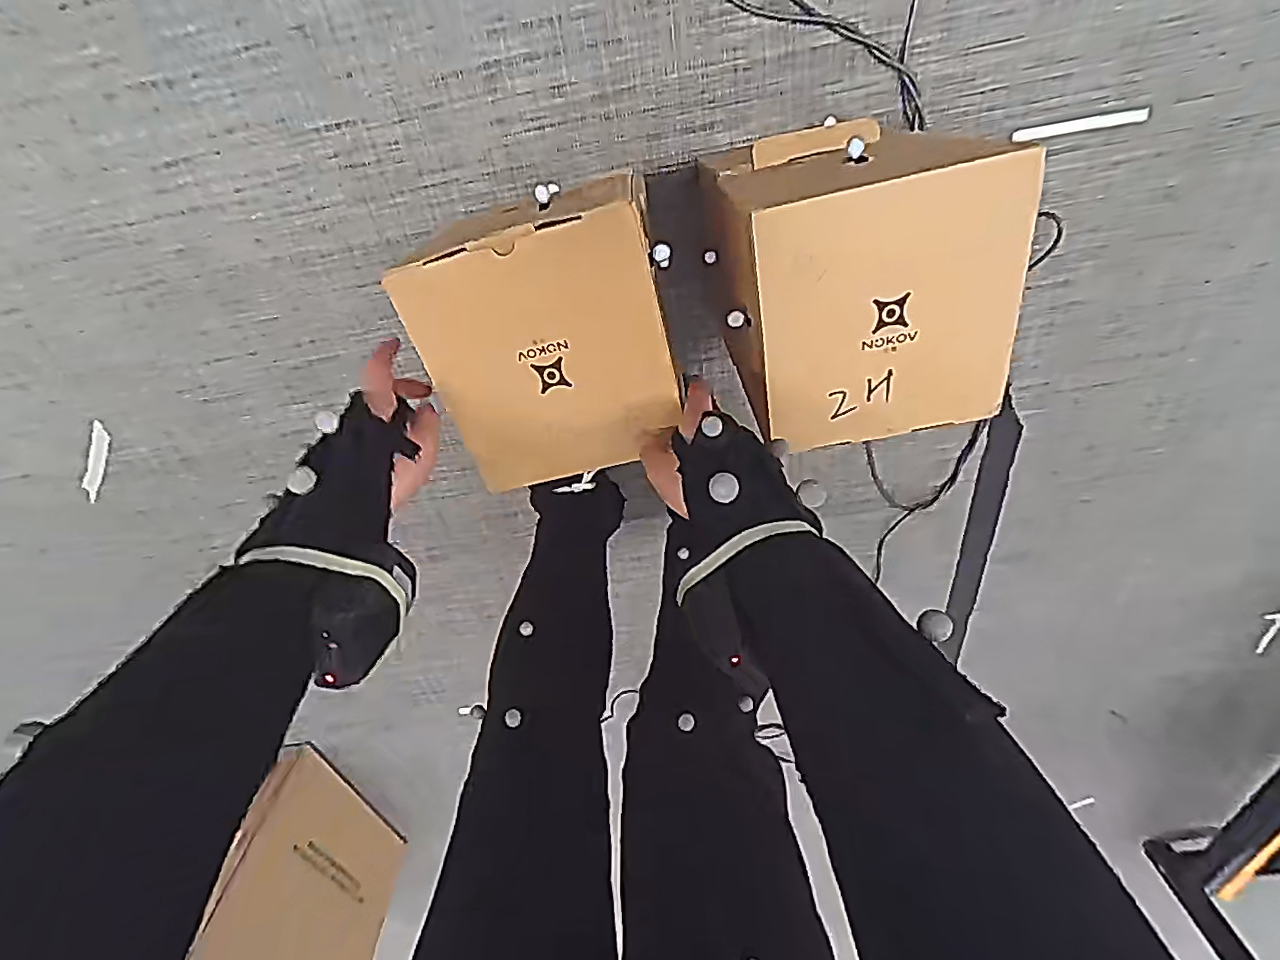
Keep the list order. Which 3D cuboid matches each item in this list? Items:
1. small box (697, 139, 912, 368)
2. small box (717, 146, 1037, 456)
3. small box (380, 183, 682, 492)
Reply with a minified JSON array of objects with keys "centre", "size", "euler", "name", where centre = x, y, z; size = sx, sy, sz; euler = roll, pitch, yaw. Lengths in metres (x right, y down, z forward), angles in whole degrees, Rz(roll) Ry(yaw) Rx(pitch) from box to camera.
[{"centre":[0.154,-0.239,0.558],"size":[0.168,0.176,0.179],"euler":[-8,125,5],"name":"small box"},{"centre":[0.158,-0.146,0.421],"size":[0.168,0.176,0.179],"euler":[-9,124,6],"name":"small box"},{"centre":[-0.065,-0.120,0.439],"size":[0.168,0.176,0.179],"euler":[-13,122,8],"name":"small box"}]
